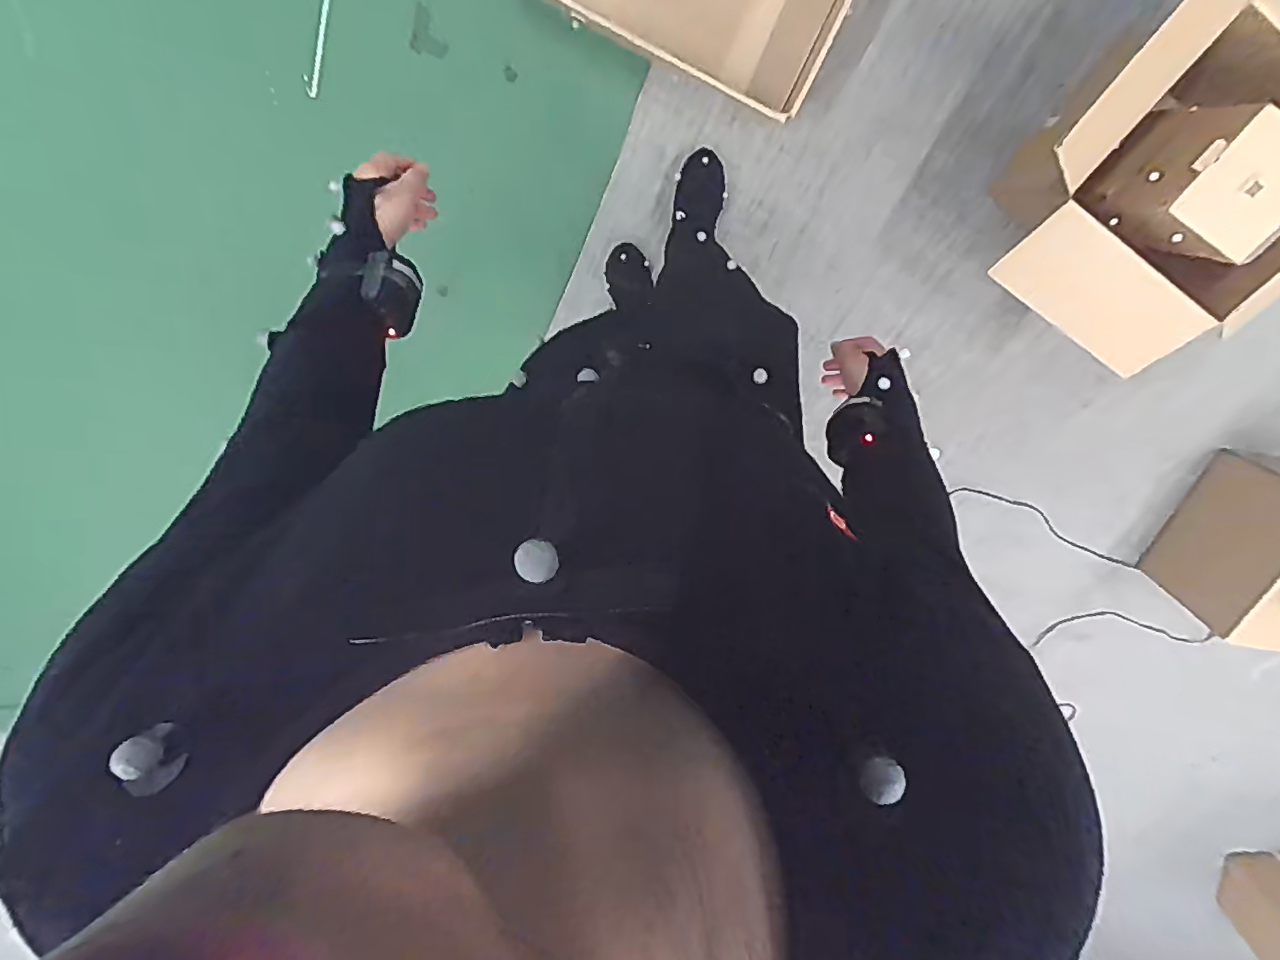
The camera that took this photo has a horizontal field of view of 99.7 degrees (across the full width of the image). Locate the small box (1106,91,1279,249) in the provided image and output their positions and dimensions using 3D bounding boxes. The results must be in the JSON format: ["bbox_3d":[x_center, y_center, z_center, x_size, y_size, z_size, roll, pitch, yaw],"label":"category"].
[{"bbox_3d":[0.973,-0.525,0.929,0.179,0.176,0.168,26,120,-11],"label":"small box"}]
